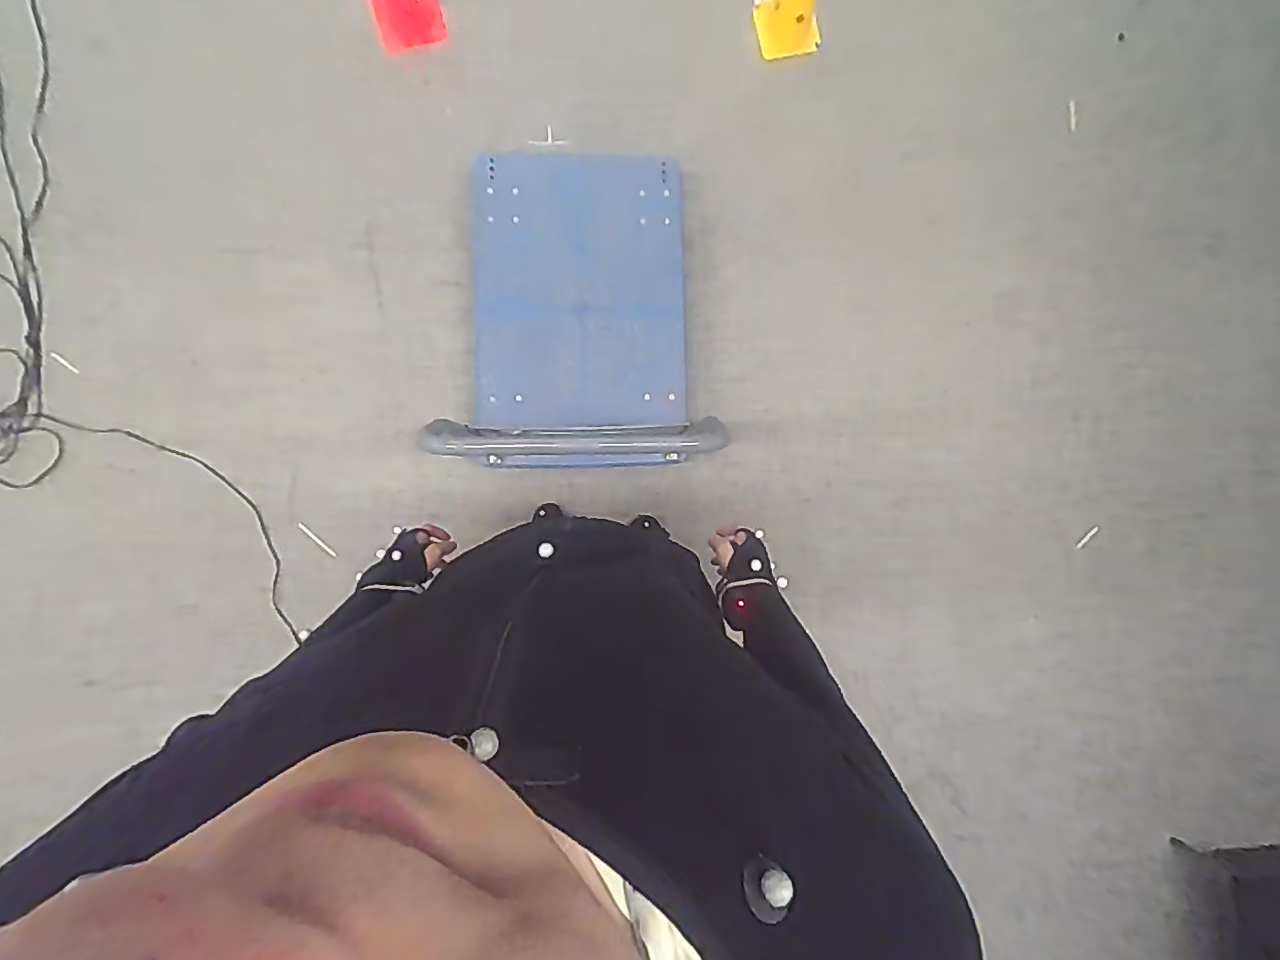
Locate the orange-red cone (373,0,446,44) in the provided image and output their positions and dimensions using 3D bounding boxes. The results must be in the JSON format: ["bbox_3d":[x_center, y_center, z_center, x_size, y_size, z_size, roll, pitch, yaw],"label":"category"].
[{"bbox_3d":[-0.697,-1.444,1.479,0.199,0.360,0.198,-16,89,-3],"label":"orange-red cone"}]
